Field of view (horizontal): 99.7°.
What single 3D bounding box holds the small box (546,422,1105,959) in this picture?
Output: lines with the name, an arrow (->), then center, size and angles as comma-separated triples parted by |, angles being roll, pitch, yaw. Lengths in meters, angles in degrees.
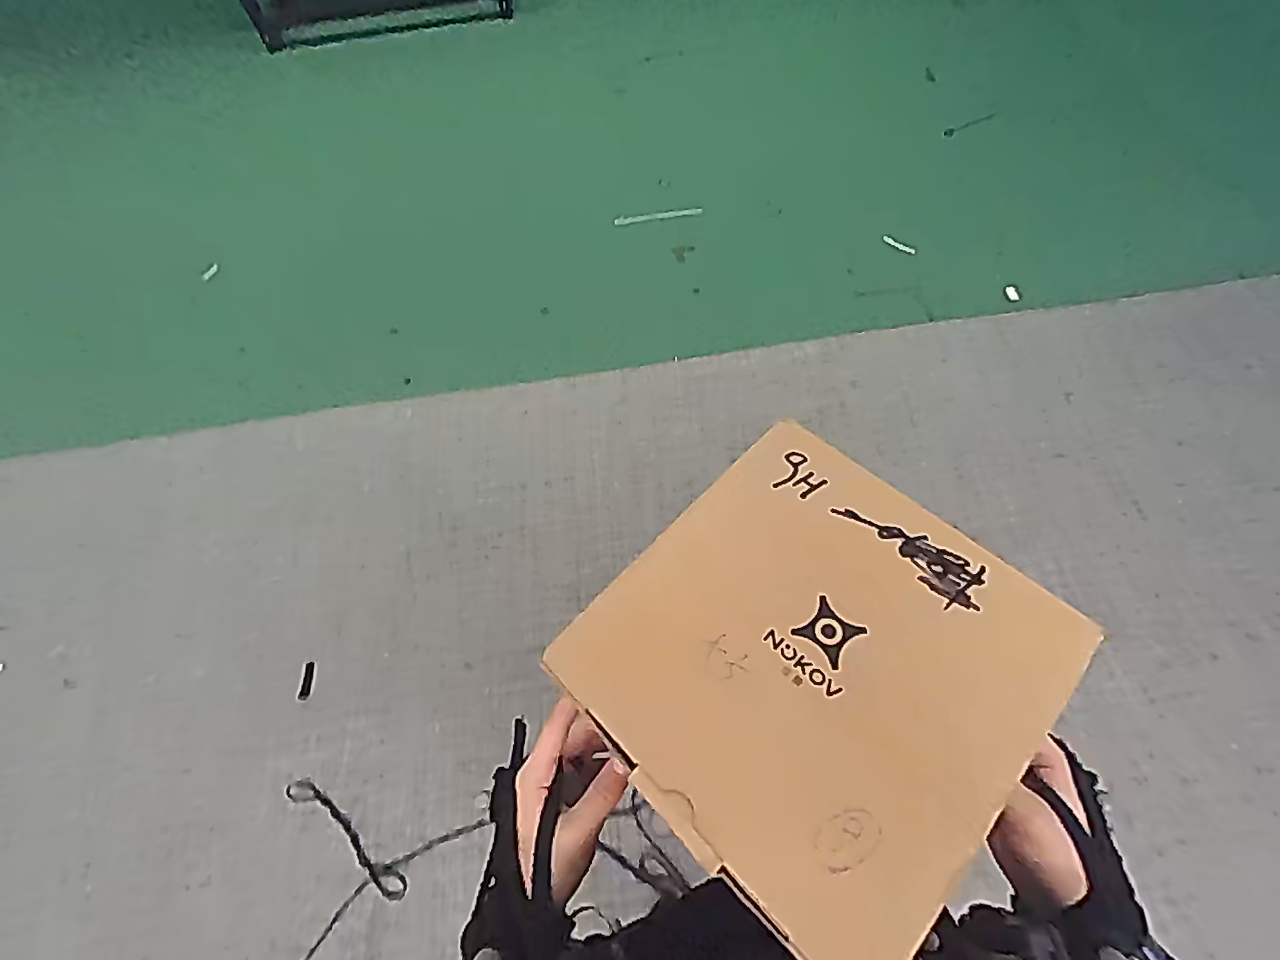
small box -> 0.082, 0.110, 0.297 | 0.179, 0.176, 0.168 | -42, 65, -17
